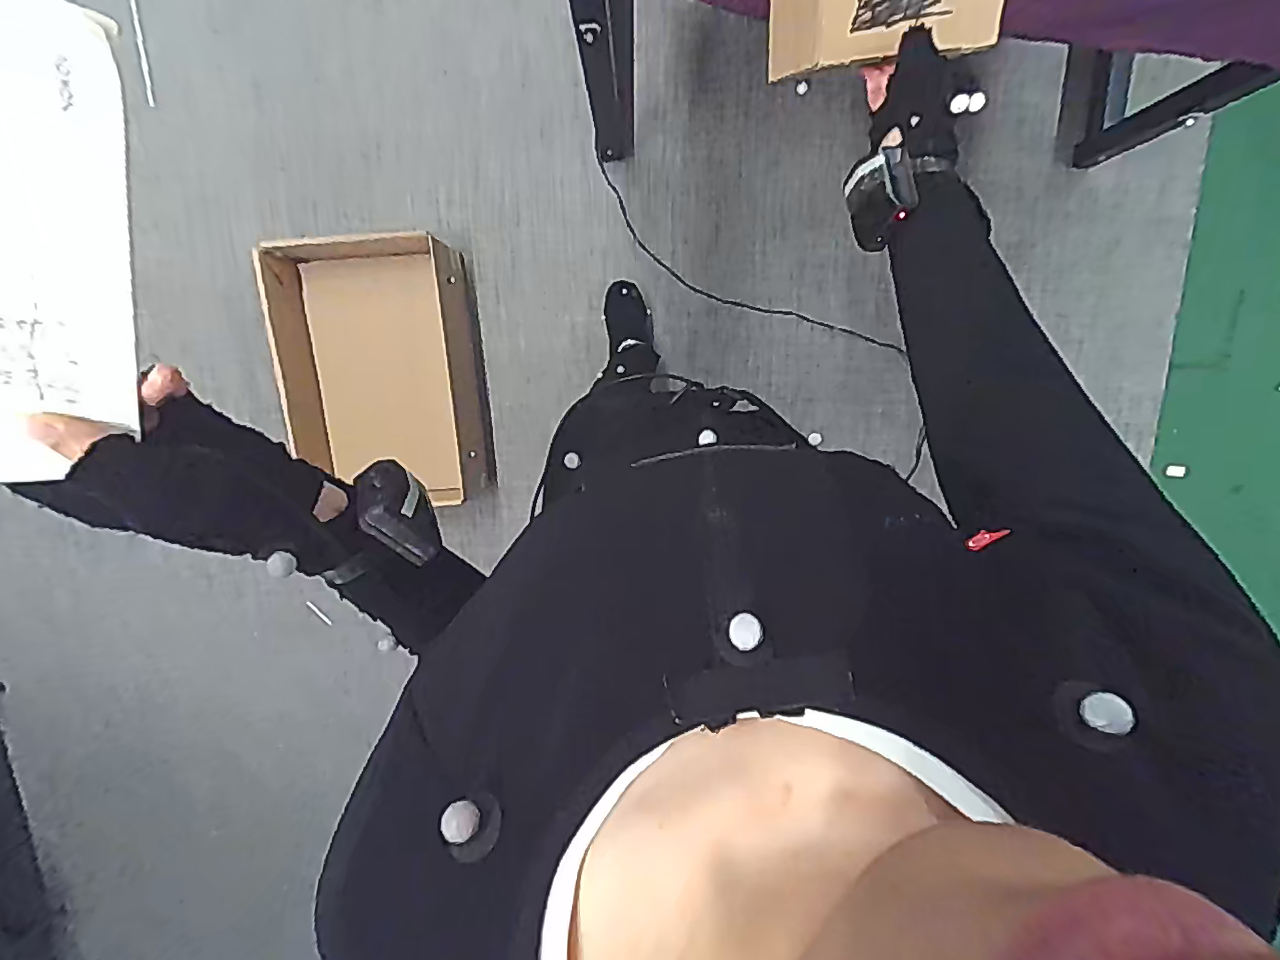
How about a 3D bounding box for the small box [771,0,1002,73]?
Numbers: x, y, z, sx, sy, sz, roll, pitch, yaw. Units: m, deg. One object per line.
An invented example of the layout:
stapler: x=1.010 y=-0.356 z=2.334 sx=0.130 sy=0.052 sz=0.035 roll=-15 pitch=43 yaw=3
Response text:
small box: x=0.228 y=-0.505 z=0.513 sx=0.168 sy=0.176 sz=0.179 roll=-7 pitch=121 yaw=0
